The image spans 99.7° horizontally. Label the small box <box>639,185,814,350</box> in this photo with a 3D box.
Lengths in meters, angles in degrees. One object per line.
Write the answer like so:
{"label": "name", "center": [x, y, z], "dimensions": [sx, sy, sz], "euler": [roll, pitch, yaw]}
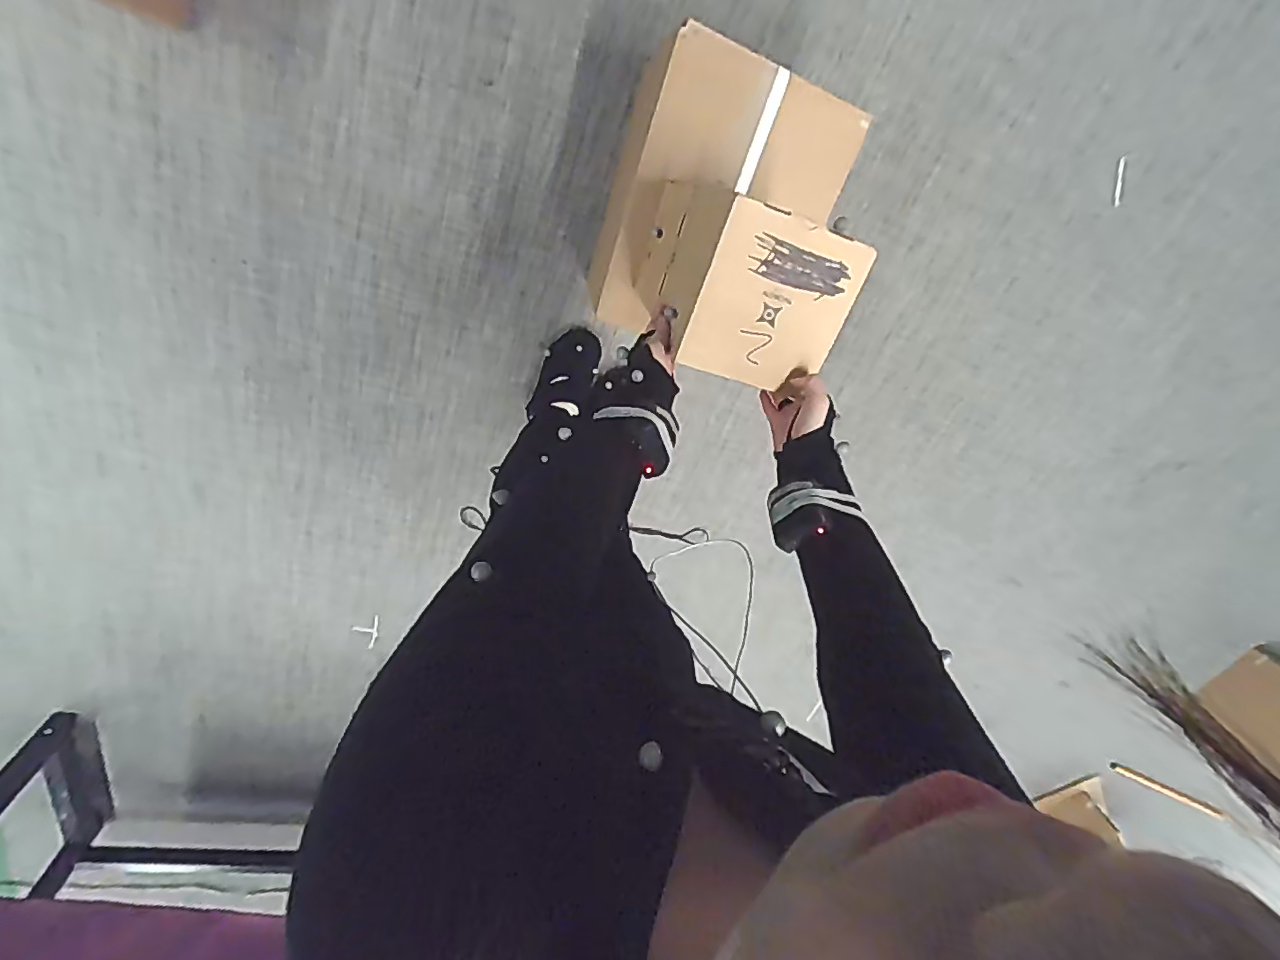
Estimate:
{"label": "small box", "center": [0.111, -0.311, 0.778], "dimensions": [0.179, 0.176, 0.168], "euler": [12, 118, -15]}
